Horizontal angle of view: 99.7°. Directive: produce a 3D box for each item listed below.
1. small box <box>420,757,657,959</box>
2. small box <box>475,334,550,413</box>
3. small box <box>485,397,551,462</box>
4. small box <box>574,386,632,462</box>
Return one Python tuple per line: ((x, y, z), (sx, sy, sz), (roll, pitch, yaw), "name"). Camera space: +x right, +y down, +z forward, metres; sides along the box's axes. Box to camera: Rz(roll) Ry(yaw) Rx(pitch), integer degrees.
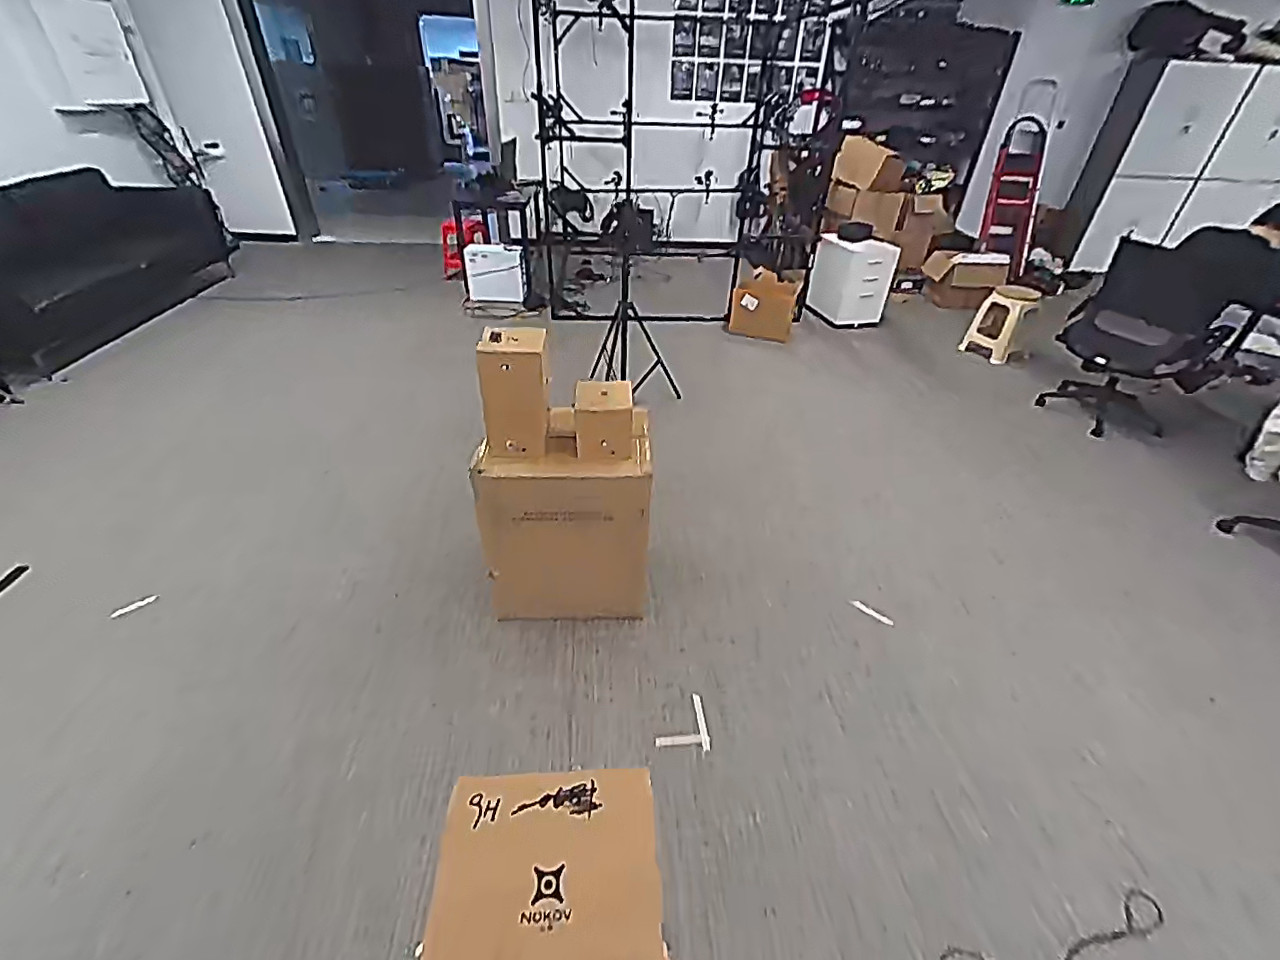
((-0.071, 0.358, 0.452), (0.168, 0.176, 0.179), (-2, 42, -3), "small box")
((-0.353, -0.300, 1.528), (0.179, 0.176, 0.168), (0, 37, -4), "small box")
((-0.361, -0.170, 1.628), (0.168, 0.176, 0.179), (-1, 38, -3), "small box")
((-0.108, -0.170, 1.636), (0.168, 0.176, 0.179), (-2, 37, -2), "small box")
